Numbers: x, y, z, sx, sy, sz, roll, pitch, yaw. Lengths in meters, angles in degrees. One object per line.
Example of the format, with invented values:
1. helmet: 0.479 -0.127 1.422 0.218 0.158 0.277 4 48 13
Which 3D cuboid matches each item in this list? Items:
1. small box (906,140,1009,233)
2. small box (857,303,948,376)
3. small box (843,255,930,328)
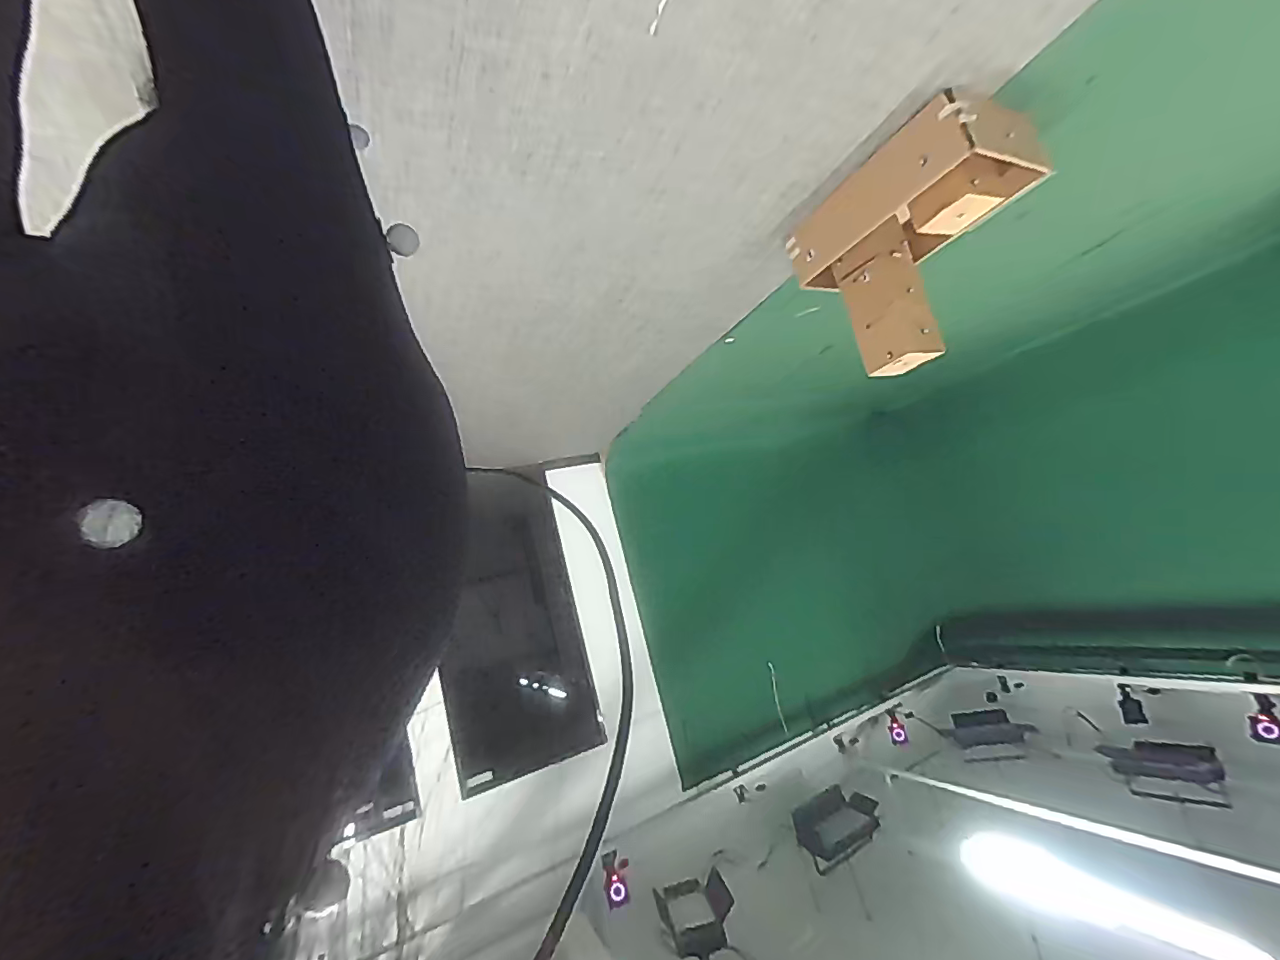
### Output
1. small box: 0.902 -0.834 1.544 0.179 0.176 0.168 -9 170 -24
2. small box: 0.829 -0.445 1.714 0.179 0.176 0.168 -9 168 -28
3. small box: 0.791 -0.602 1.743 0.179 0.176 0.168 -7 167 -30
